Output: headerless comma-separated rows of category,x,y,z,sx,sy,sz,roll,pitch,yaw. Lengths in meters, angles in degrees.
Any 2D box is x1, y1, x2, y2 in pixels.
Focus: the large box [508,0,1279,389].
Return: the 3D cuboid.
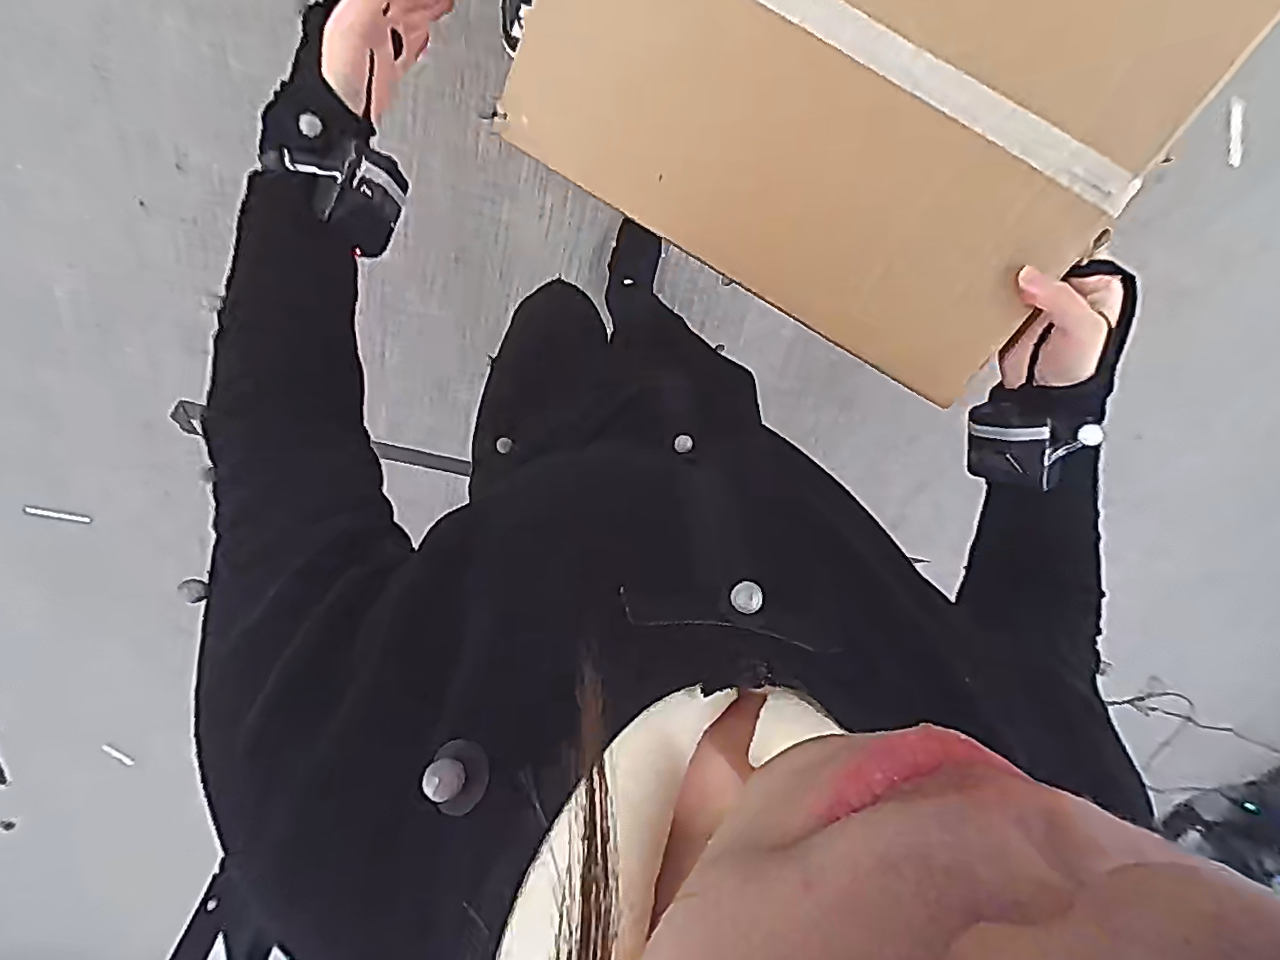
large box,0.174,-0.333,0.472,0.408,0.320,0.320,32,114,2
